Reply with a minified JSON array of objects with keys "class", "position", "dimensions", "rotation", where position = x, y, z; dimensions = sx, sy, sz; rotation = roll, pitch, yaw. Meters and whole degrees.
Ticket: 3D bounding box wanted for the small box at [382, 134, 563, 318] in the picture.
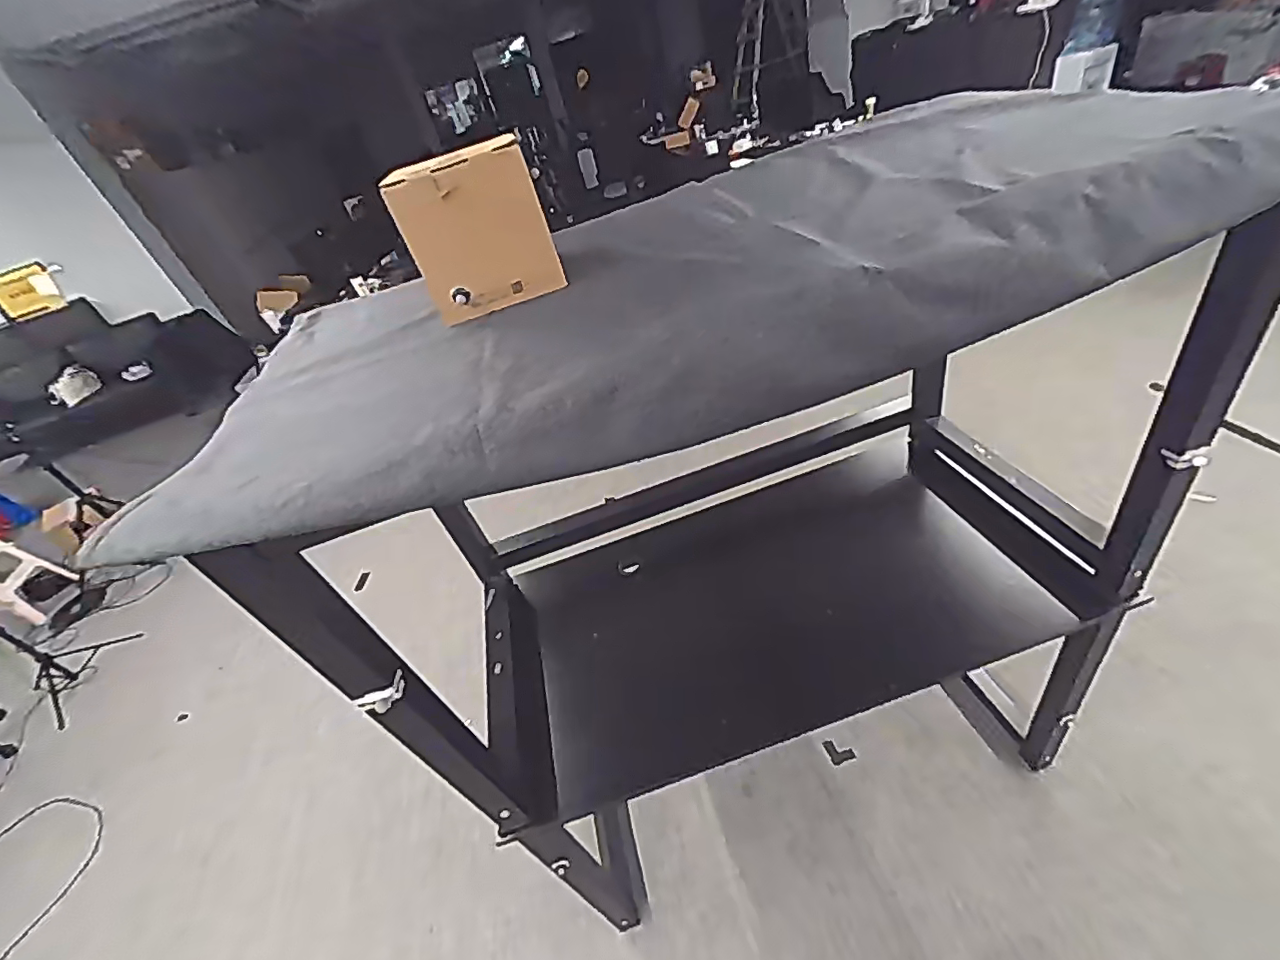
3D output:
[{"class":"small box","position":[-0.210,-0.333,0.717],"dimensions":[0.168,0.176,0.179],"rotation":[-19,37,-2]}]
